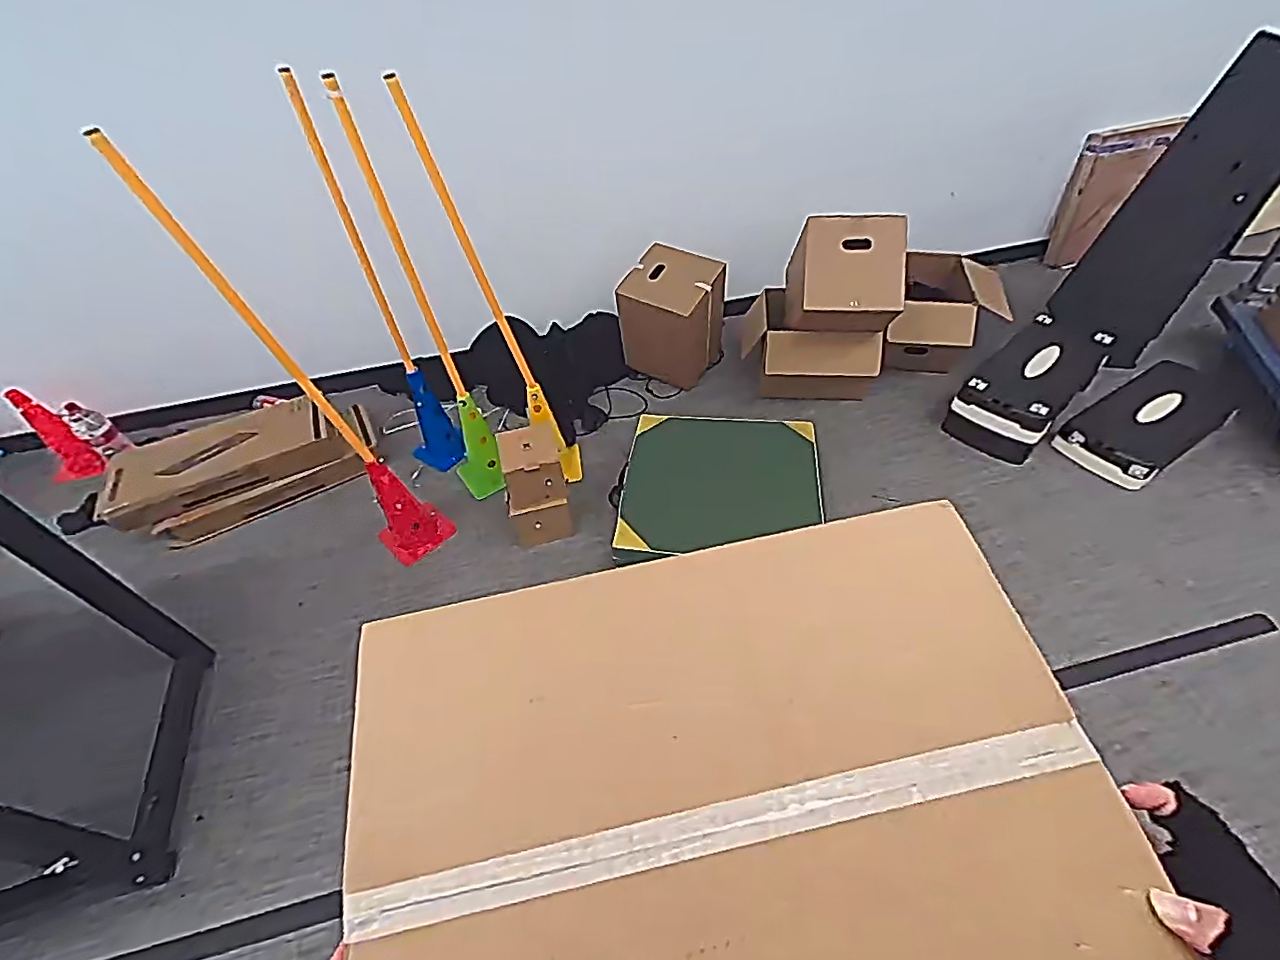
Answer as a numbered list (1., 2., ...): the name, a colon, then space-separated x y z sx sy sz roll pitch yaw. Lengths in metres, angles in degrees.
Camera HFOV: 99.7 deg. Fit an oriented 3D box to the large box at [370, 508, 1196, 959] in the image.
1. large box: 0.060 0.266 0.425 0.408 0.320 0.320 -12 60 -2
